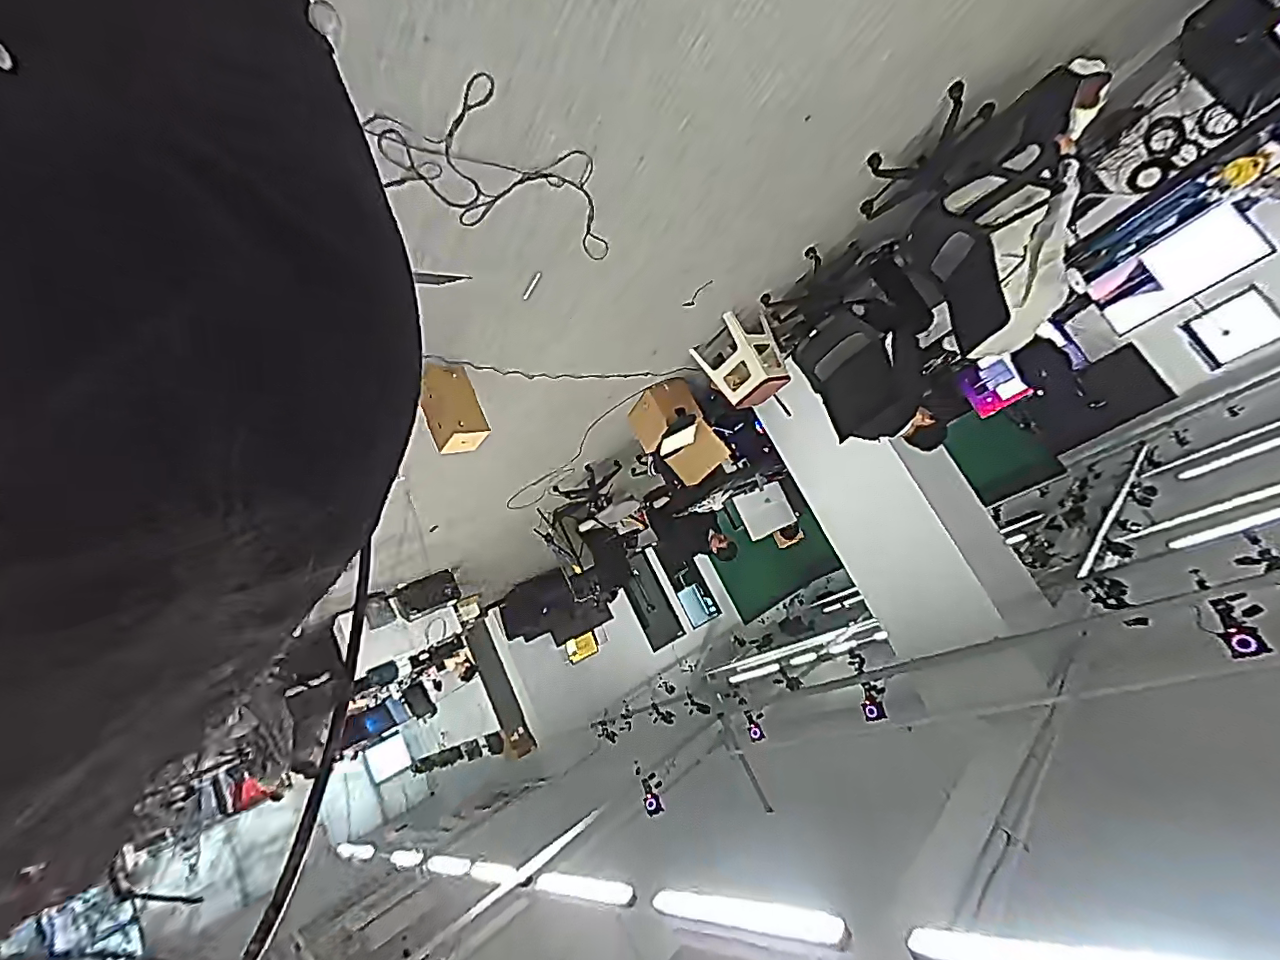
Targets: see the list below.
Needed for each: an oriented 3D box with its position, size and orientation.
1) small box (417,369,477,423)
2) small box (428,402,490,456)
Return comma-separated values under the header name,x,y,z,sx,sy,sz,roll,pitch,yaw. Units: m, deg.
name,x,y,z,sx,sy,sz,roll,pitch,yaw
small box,-0.852,-0.363,2.366,0.179,0.176,0.168,-38,164,36
small box,-0.781,-0.222,2.318,0.179,0.176,0.168,-13,162,-48
